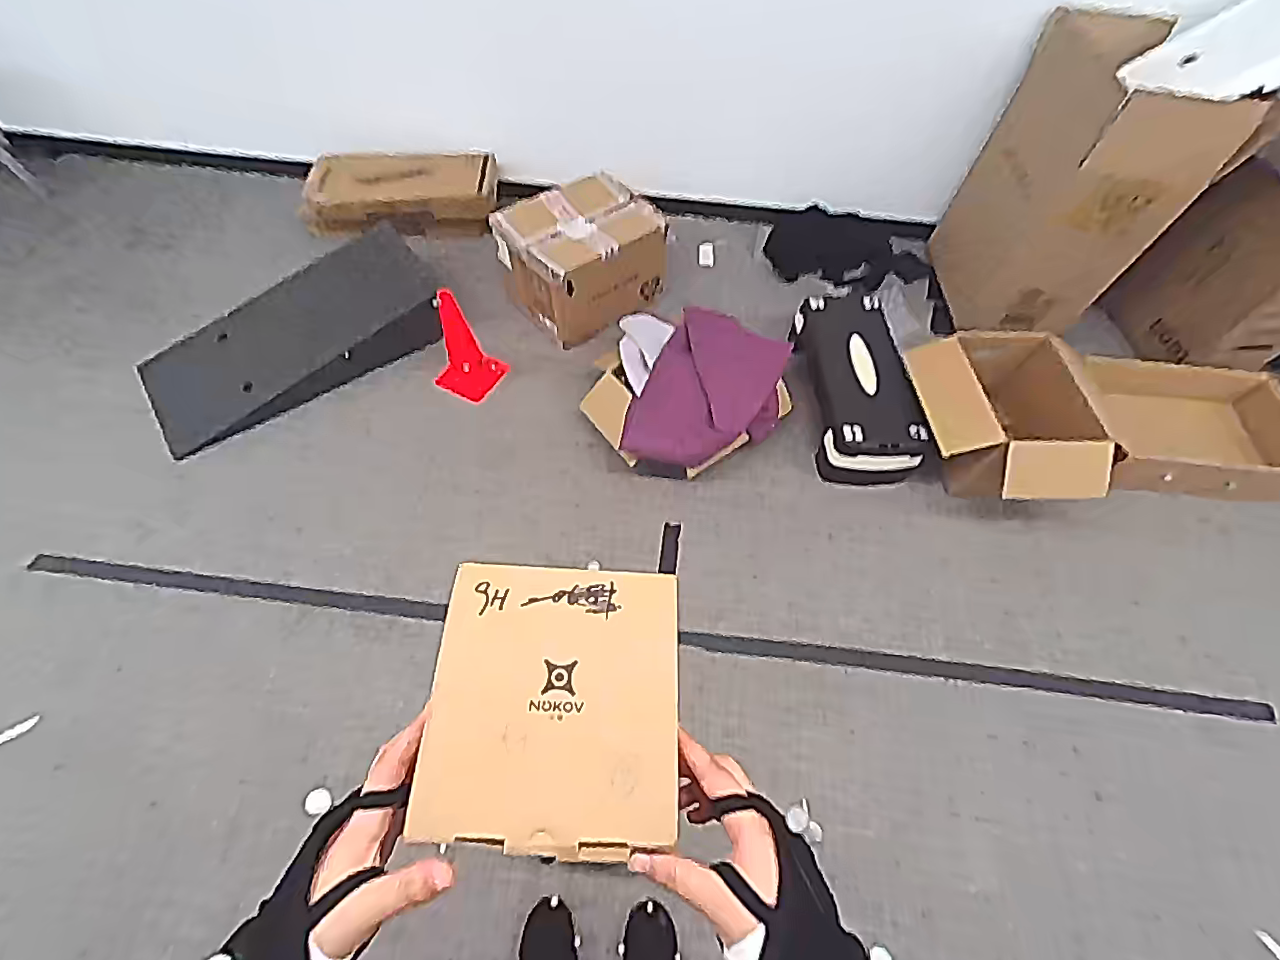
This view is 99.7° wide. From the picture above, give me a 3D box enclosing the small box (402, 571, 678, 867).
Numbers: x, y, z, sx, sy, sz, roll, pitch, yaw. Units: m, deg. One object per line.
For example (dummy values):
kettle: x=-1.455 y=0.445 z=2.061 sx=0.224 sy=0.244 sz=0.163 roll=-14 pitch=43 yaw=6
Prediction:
small box: x=-0.059 y=0.183 z=0.424 sx=0.168 sy=0.176 sz=0.179 roll=3 pitch=61 yaw=-2
